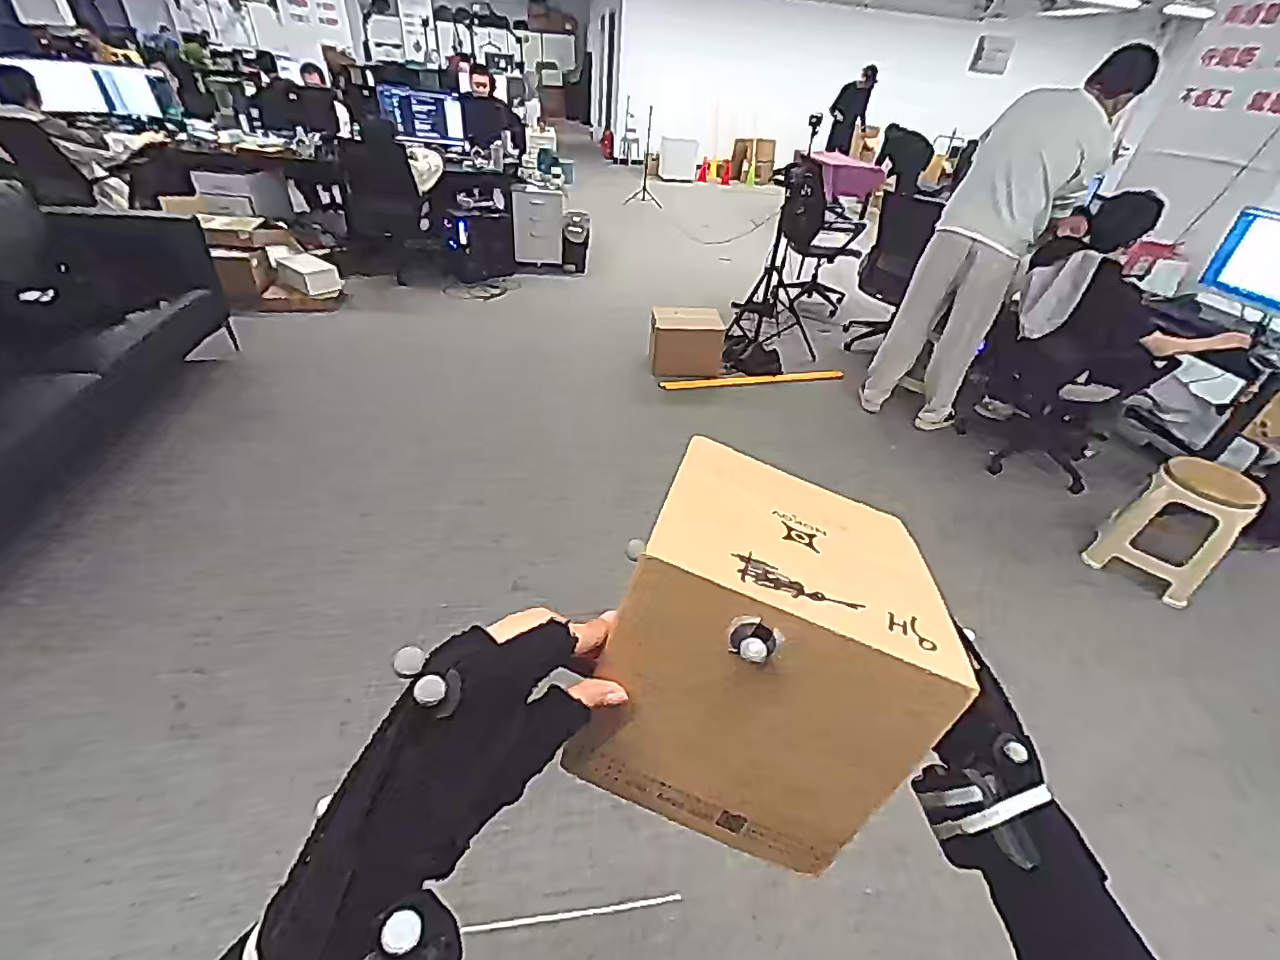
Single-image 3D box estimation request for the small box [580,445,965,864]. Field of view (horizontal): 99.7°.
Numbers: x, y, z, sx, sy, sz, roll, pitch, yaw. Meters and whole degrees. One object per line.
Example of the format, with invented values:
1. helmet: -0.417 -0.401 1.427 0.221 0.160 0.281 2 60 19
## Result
1. small box: 0.073 0.103 0.370 0.168 0.176 0.179 22 26 5
